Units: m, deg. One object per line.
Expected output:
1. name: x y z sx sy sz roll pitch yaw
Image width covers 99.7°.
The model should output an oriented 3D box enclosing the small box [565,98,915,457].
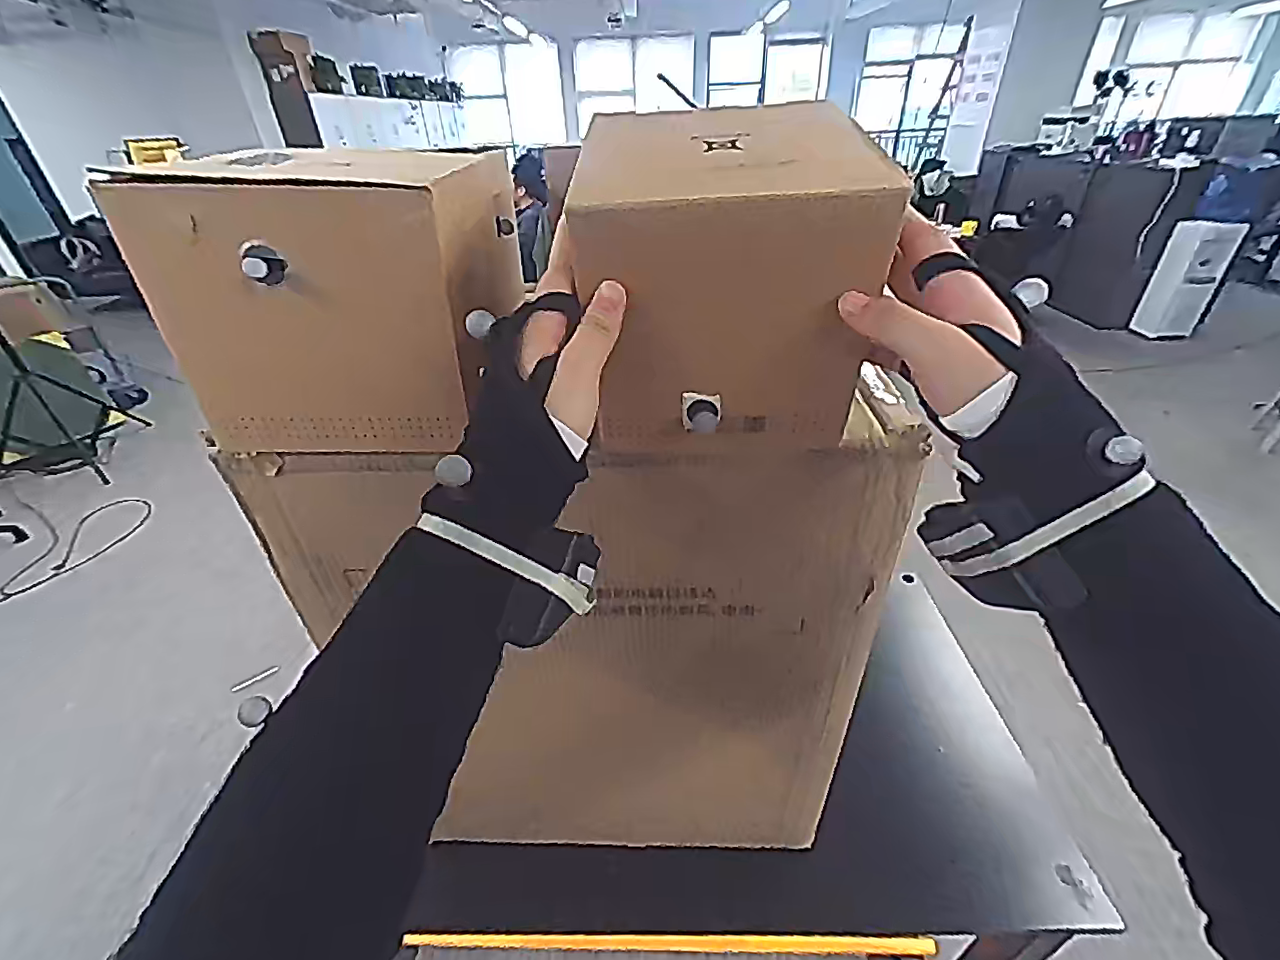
1. small box: 0.051 -0.135 0.366 0.168 0.176 0.179 -3 46 3
